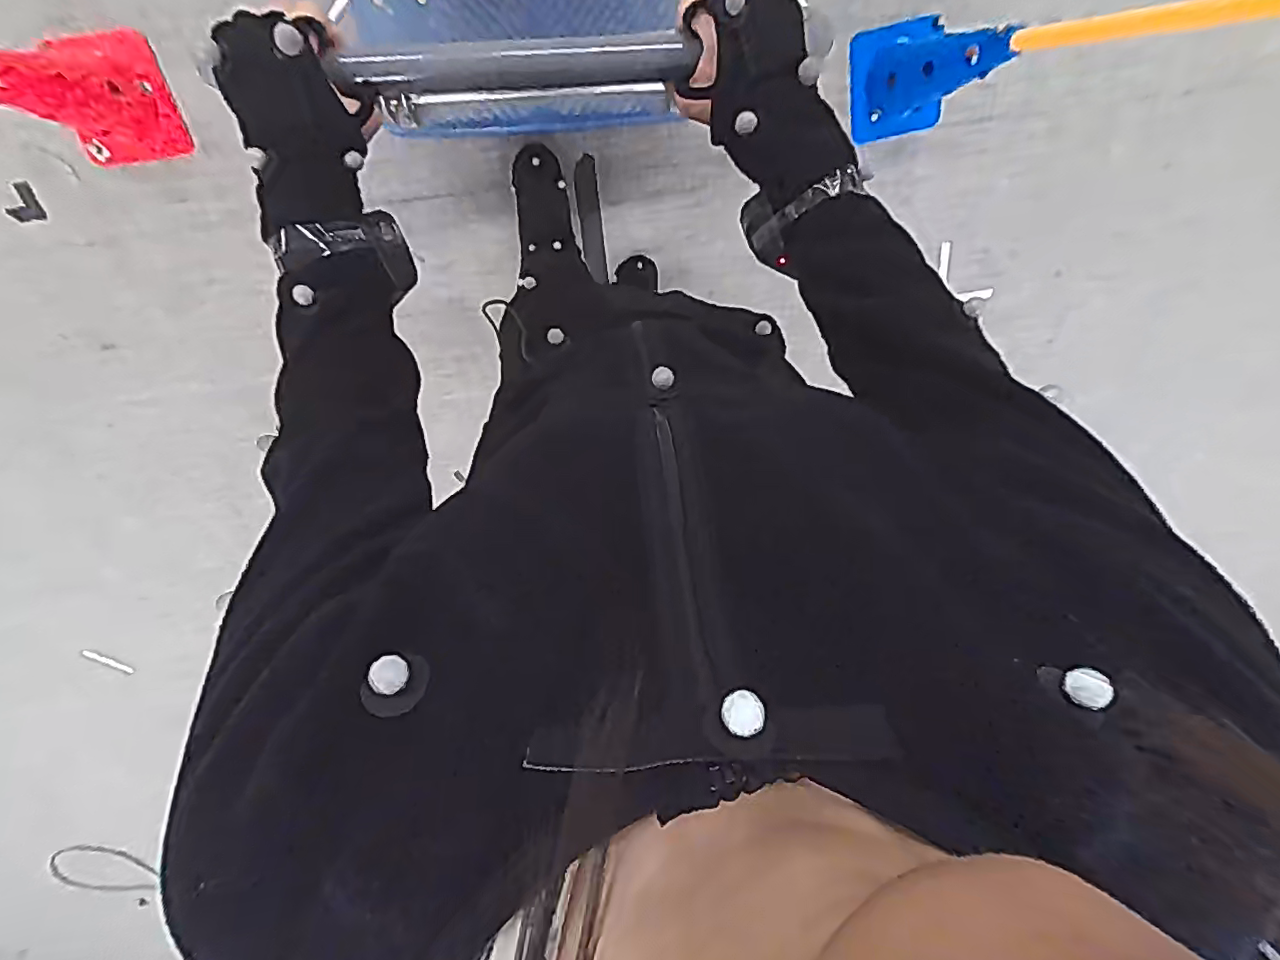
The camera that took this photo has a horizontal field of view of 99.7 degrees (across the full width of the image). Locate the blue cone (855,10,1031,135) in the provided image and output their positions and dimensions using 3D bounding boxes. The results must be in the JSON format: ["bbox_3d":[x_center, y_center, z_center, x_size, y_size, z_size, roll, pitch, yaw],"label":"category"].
[{"bbox_3d":[0.566,-0.775,0.998,0.193,0.380,0.192,-12,118,-1],"label":"blue cone"}]
